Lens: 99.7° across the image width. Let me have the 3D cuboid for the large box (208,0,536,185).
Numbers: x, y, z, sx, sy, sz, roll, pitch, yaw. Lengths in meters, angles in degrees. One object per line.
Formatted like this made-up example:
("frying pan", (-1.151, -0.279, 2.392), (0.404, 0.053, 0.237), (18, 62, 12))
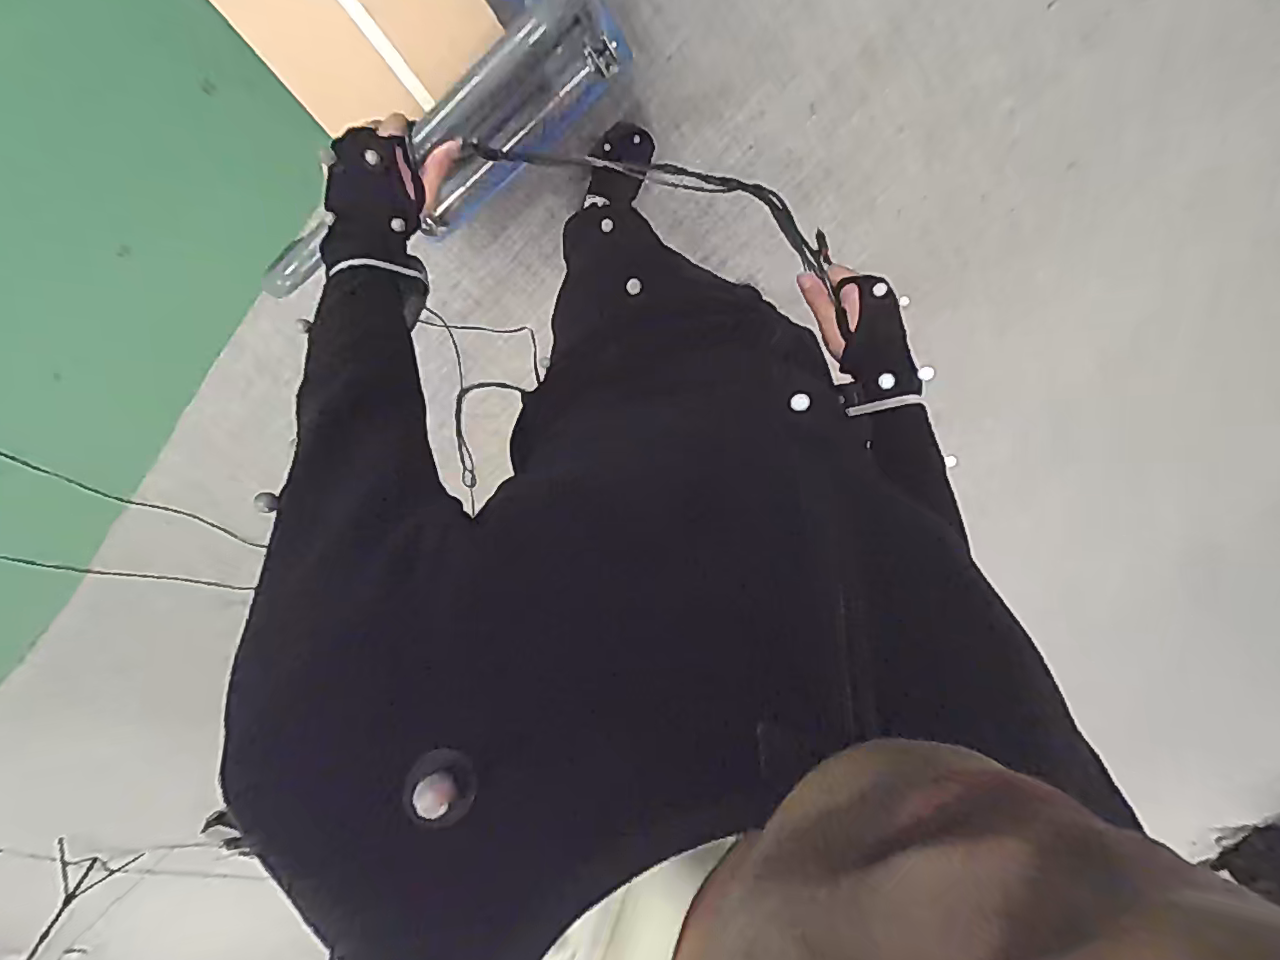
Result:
("large box", (-0.427, -0.767, 0.866), (0.320, 0.320, 0.408), (-31, 121, 17))
